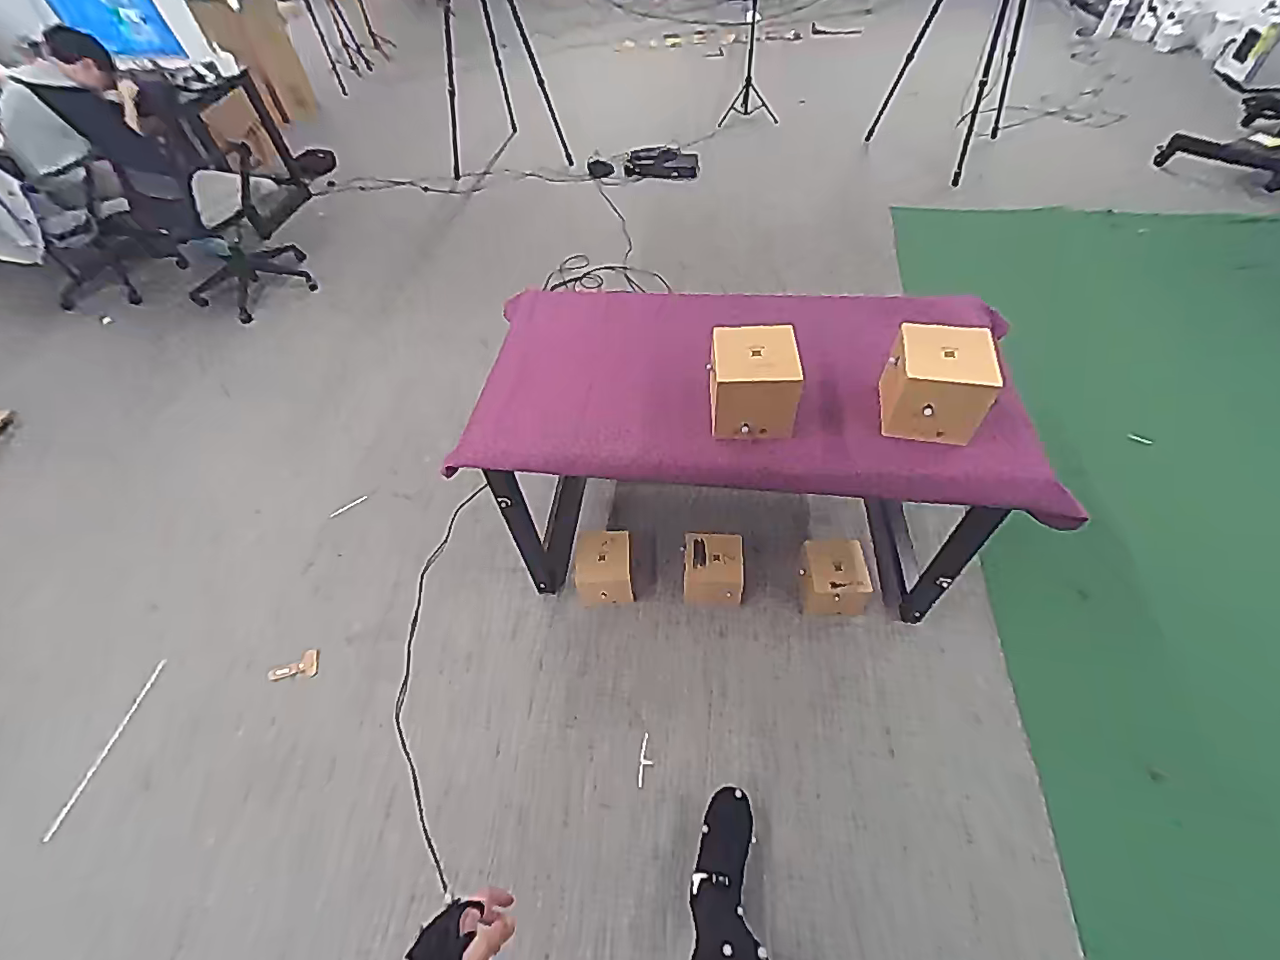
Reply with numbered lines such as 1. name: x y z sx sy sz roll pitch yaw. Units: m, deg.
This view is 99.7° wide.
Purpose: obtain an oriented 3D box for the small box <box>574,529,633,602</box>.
1. small box: -0.109 0.274 1.698 0.168 0.176 0.179 -3 52 2

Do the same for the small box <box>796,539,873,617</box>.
1. small box: 0.579 0.296 1.633 0.168 0.176 0.179 -1 52 3

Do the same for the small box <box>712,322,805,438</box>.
1. small box: 0.238 -0.209 1.130 0.168 0.176 0.179 0 52 5

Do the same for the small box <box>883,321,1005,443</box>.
1. small box: 0.603 -0.197 1.095 0.168 0.176 0.179 8 52 12
